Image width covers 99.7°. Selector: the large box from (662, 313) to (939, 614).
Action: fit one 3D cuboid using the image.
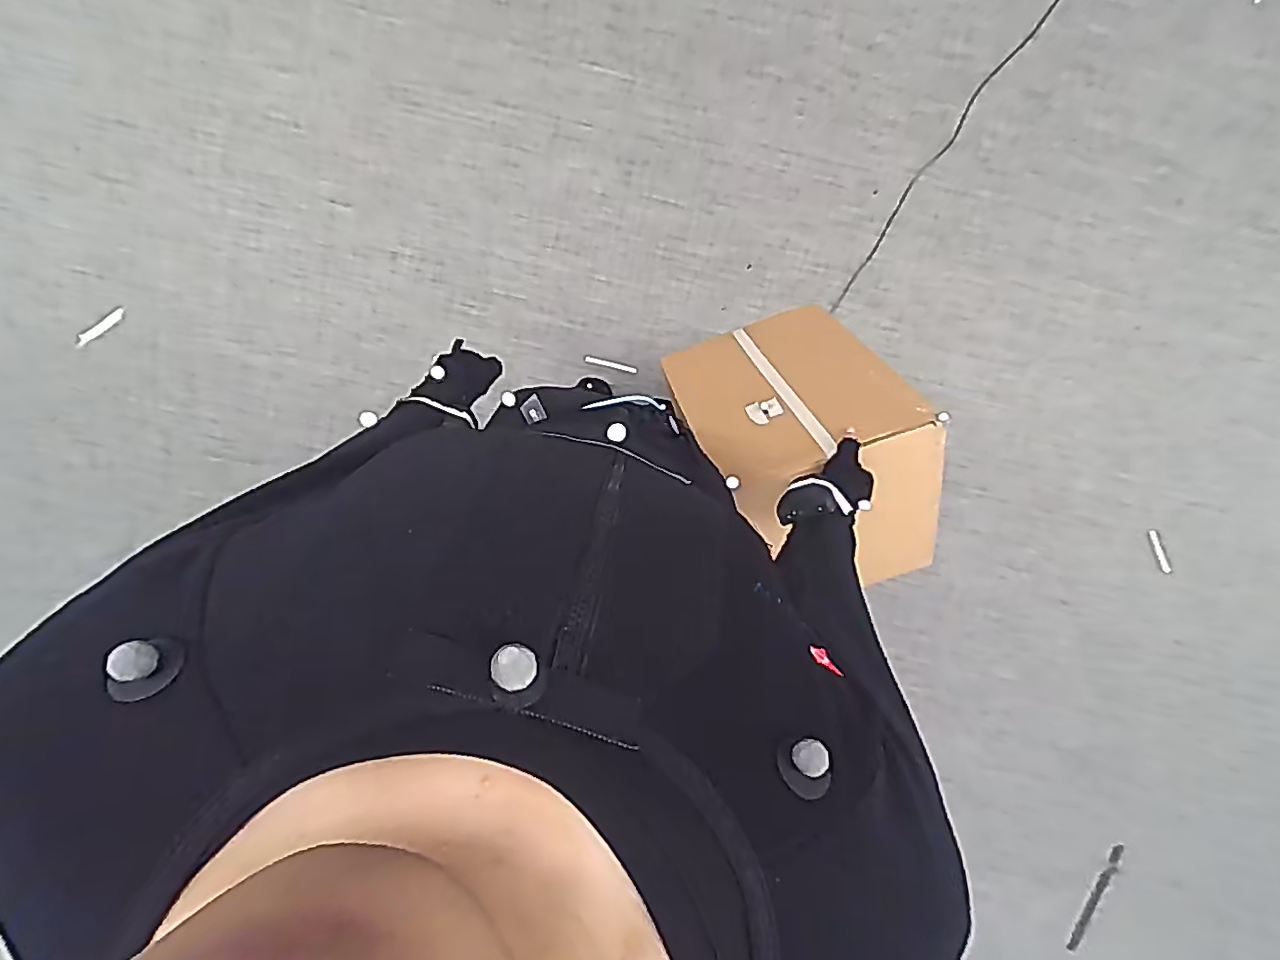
[{"bbox_3d":[0.260,-0.040,0.976,0.320,0.408,0.320,-19,131,3],"label":"large box"}]
